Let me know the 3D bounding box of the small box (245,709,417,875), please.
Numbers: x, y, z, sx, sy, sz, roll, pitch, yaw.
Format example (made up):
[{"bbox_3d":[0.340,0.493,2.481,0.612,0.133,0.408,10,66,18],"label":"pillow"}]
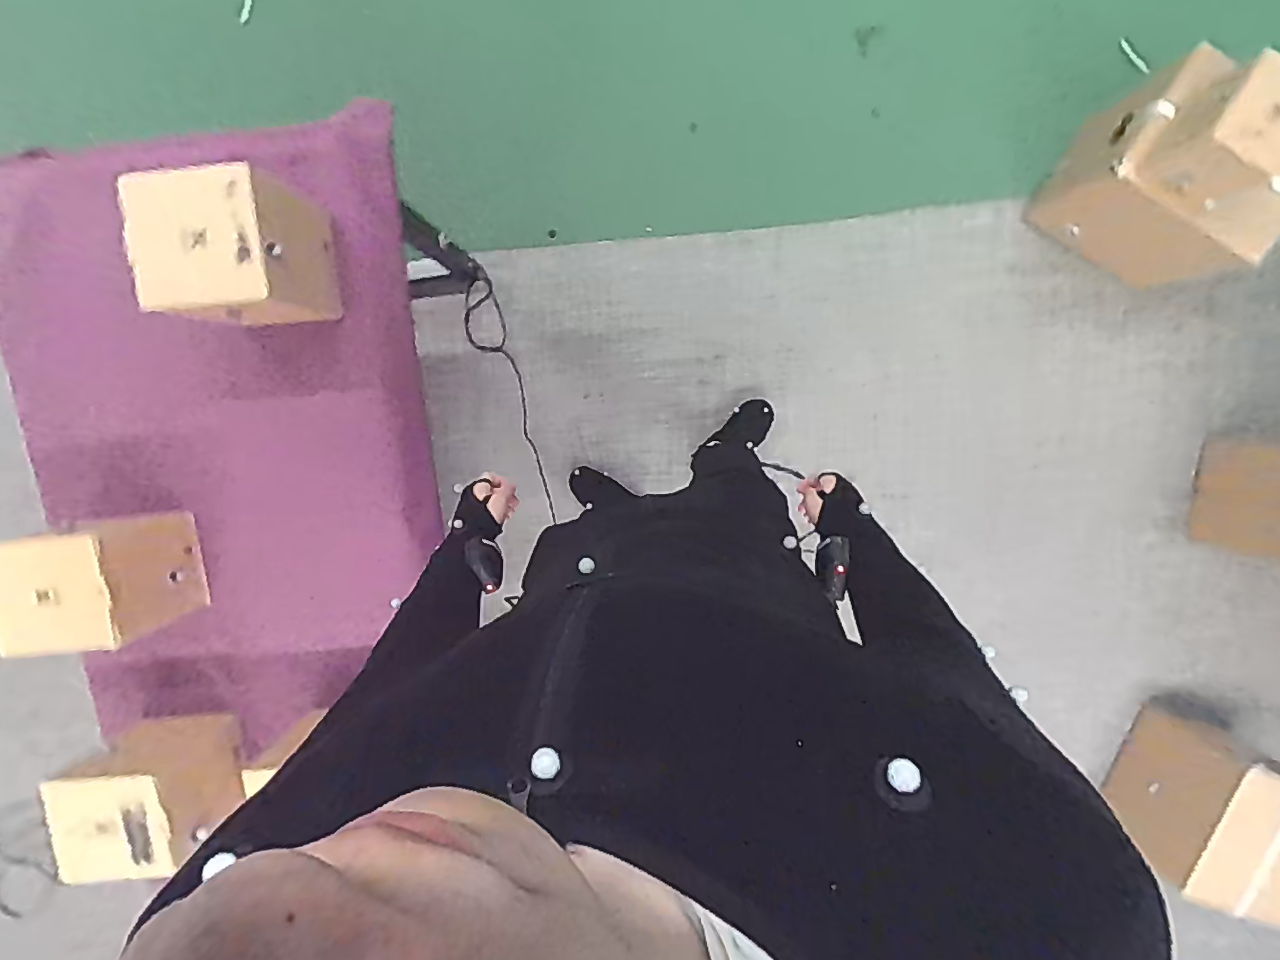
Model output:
[{"bbox_3d":[-0.479,0.490,0.871,0.179,0.176,0.168,-5,97,2],"label":"small box"}]

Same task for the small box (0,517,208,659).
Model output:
[{"bbox_3d":[-0.827,0.157,0.833,0.179,0.176,0.168,-6,97,0],"label":"small box"}]

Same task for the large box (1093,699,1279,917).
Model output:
[{"bbox_3d":[1.656,0.935,1.581,0.320,0.320,0.408,18,97,-2],"label":"large box"}]

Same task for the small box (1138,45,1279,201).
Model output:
[{"bbox_3d":[1.199,-0.717,1.109,0.168,0.176,0.179,29,98,-3],"label":"small box"}]

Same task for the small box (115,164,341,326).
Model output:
[{"bbox_3d":[-0.562,-0.316,0.761,0.179,0.176,0.168,-4,99,4],"label":"small box"}]
